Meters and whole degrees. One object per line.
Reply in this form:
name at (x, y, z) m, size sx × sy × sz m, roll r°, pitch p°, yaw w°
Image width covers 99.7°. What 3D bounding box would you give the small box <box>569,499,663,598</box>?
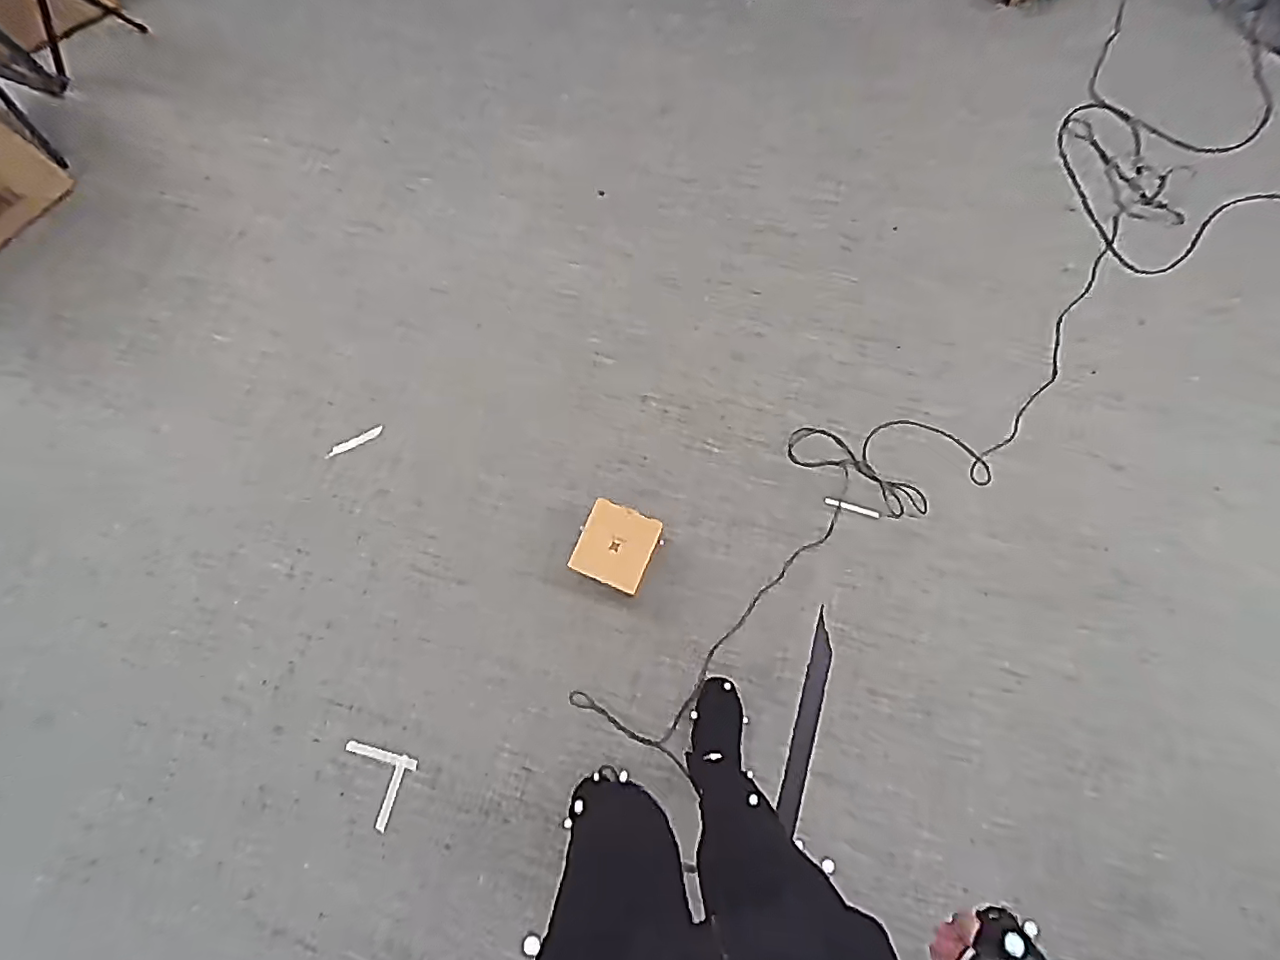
small box at (-0.048, 0.171, 1.286) m, size 0.168 × 0.176 × 0.179 m, roll 21°, pitch 76°, yaw 8°
